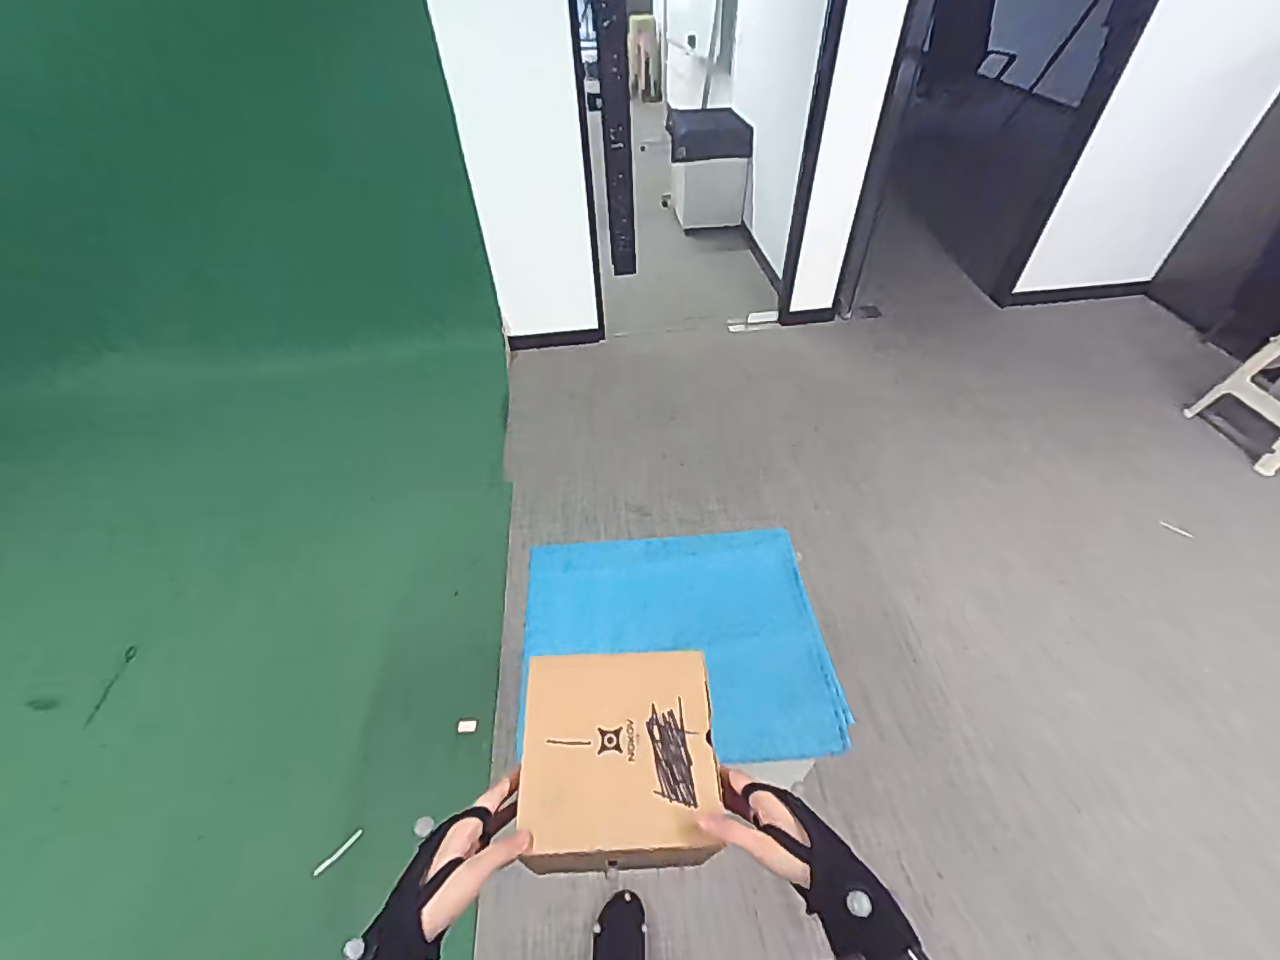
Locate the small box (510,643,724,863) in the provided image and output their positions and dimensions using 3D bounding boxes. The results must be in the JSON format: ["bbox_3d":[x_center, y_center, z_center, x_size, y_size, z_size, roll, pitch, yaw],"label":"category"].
[{"bbox_3d":[-0.024,0.277,0.546,0.179,0.176,0.168,0,49,-4],"label":"small box"}]
